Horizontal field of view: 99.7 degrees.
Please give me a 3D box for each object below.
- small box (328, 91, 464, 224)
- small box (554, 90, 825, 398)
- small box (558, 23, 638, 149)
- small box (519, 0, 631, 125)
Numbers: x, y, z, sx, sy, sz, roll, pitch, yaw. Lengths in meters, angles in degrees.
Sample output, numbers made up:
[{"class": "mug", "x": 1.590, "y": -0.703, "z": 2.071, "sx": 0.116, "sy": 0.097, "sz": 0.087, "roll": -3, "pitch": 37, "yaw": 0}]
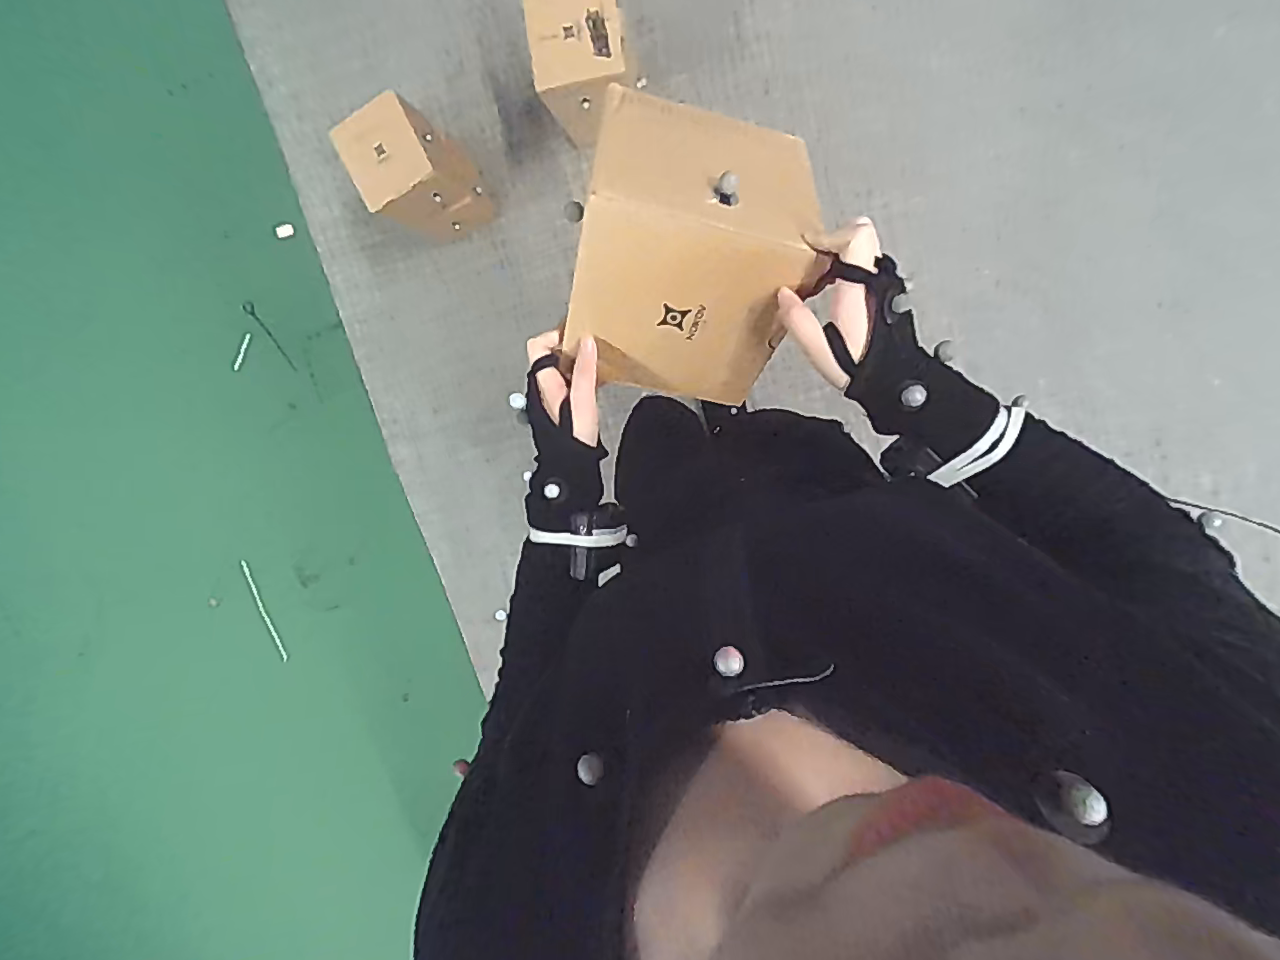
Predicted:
[{"class": "small box", "x": -0.513, "y": -0.677, "z": 1.166, "sx": 0.168, "sy": 0.176, "sz": 0.179, "roll": -24, "pitch": 98, "yaw": 12}, {"class": "small box", "x": 0.031, "y": -0.202, "z": 0.473, "sx": 0.179, "sy": 0.176, "sz": 0.168, "roll": 10, "pitch": 145, "yaw": -11}, {"class": "small box", "x": -0.096, "y": -0.883, "z": 1.227, "sx": 0.179, "sy": 0.176, "sz": 0.168, "roll": -7, "pitch": 102, "yaw": 9}, {"class": "small box", "x": -0.117, "y": -0.837, "z": 1.070, "sx": 0.179, "sy": 0.176, "sz": 0.168, "roll": -5, "pitch": 103, "yaw": 10}]
